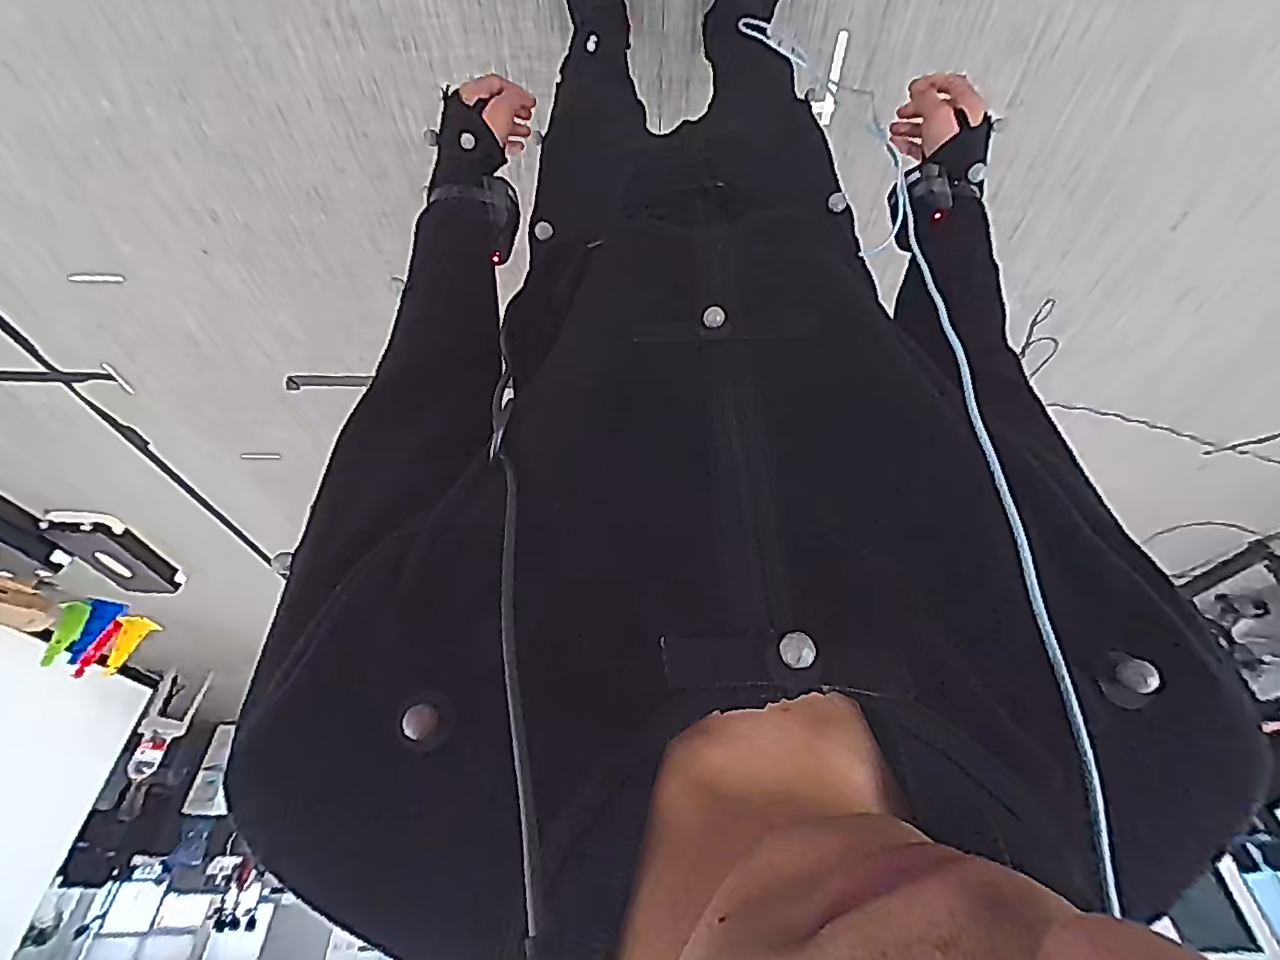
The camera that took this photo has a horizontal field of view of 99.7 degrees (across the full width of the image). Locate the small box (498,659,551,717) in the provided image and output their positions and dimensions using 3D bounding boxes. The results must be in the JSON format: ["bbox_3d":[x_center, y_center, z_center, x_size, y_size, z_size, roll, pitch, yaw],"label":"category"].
[{"bbox_3d":[-0.435,0.791,2.060,0.168,0.176,0.179,1,143,-1],"label":"small box"}]
